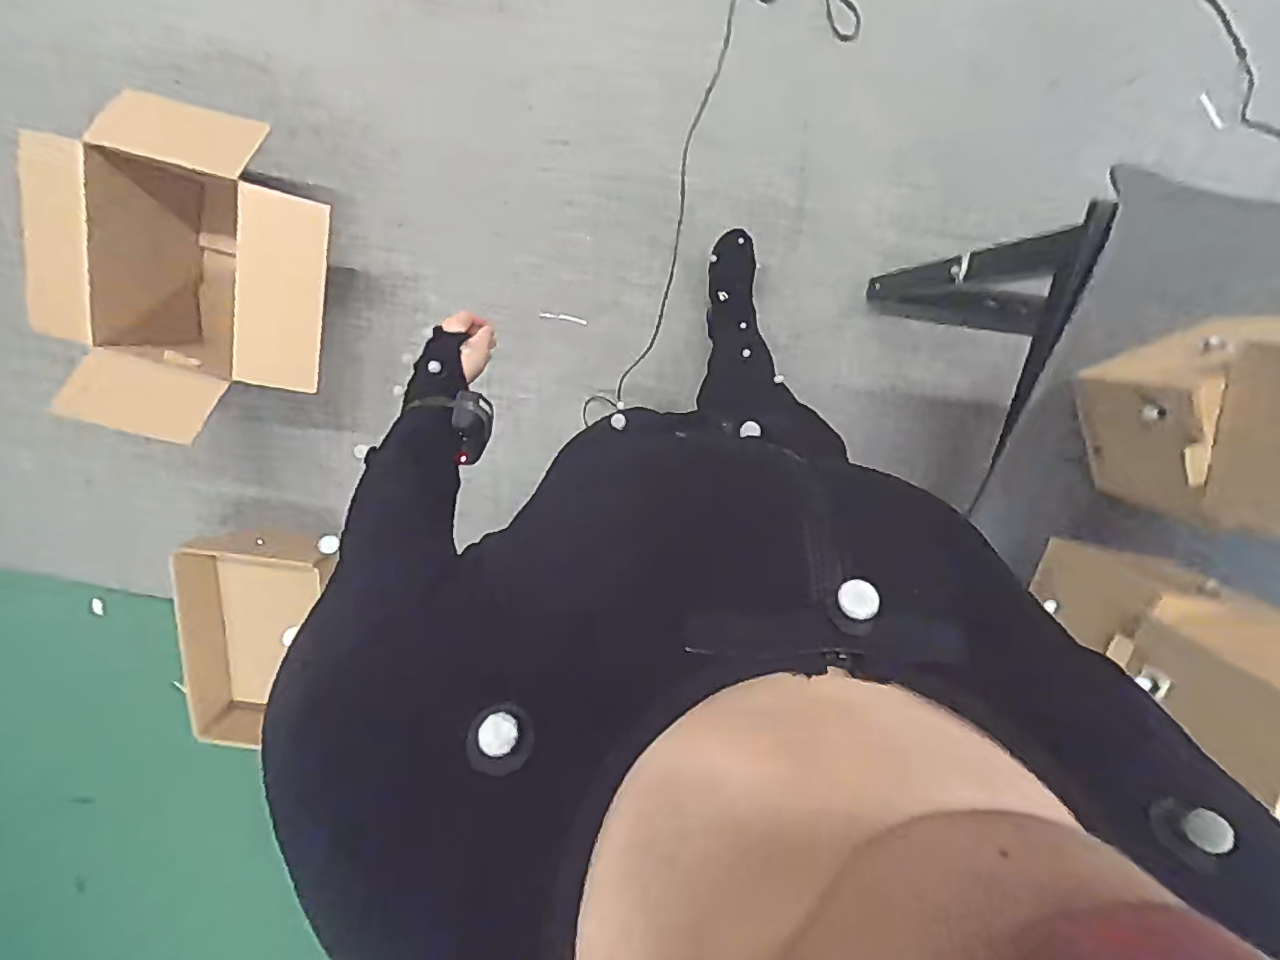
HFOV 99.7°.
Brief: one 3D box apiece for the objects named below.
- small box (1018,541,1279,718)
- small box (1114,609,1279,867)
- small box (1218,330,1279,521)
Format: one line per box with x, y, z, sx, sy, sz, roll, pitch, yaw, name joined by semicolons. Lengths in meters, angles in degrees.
0.634;0.190;0.677;0.179;0.176;0.168;12;104;-1;small box
0.627;0.236;0.521;0.179;0.176;0.168;1;104;2;small box
0.648;-0.043;0.445;0.168;0.176;0.179;-5;104;3;small box
